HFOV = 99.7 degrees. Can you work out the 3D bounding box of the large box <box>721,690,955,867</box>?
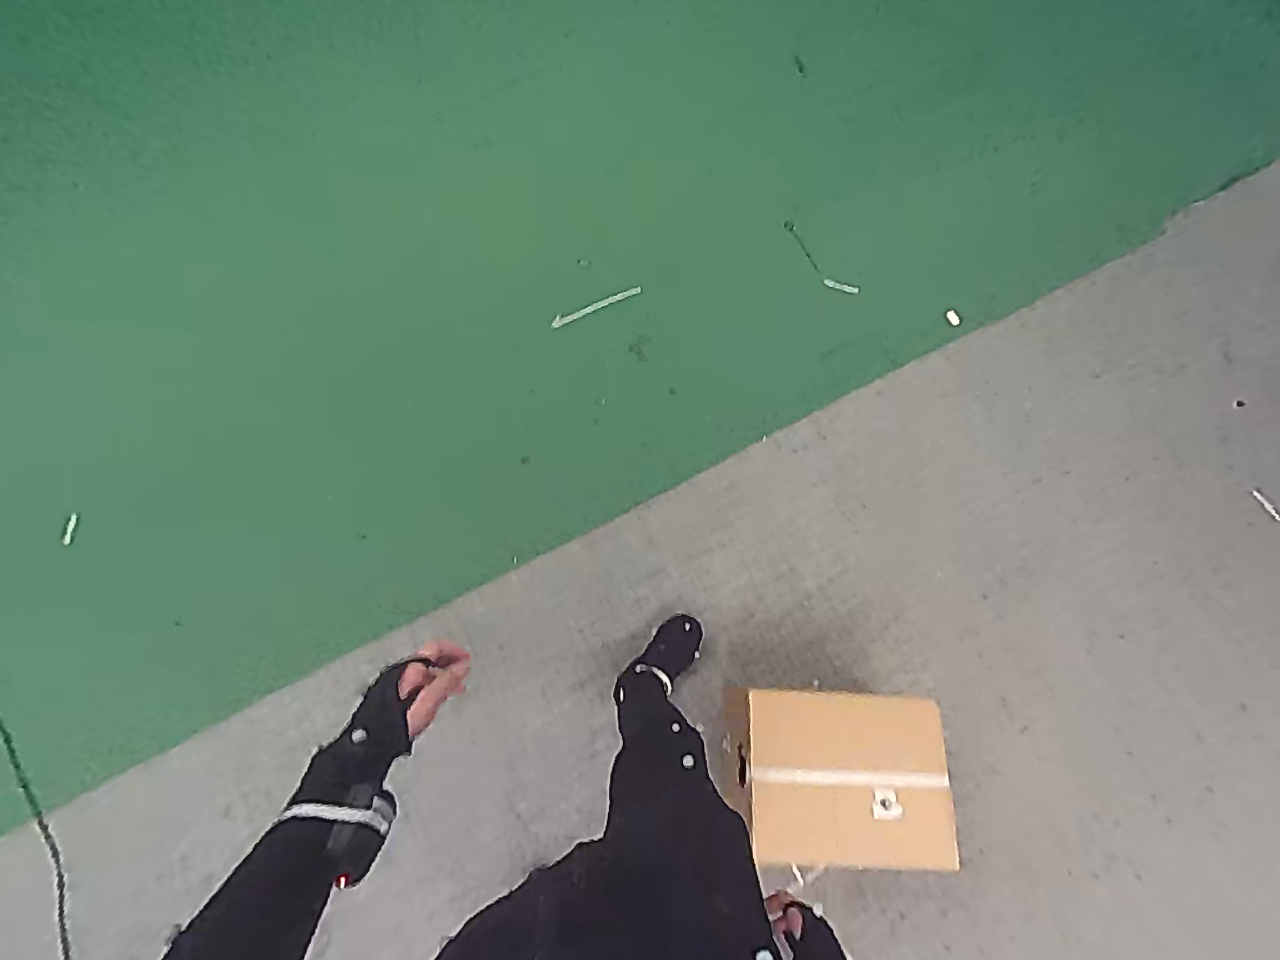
[{"bbox_3d":[0.409,0.644,1.225,0.408,0.320,0.320,3,71,-1],"label":"large box"}]
